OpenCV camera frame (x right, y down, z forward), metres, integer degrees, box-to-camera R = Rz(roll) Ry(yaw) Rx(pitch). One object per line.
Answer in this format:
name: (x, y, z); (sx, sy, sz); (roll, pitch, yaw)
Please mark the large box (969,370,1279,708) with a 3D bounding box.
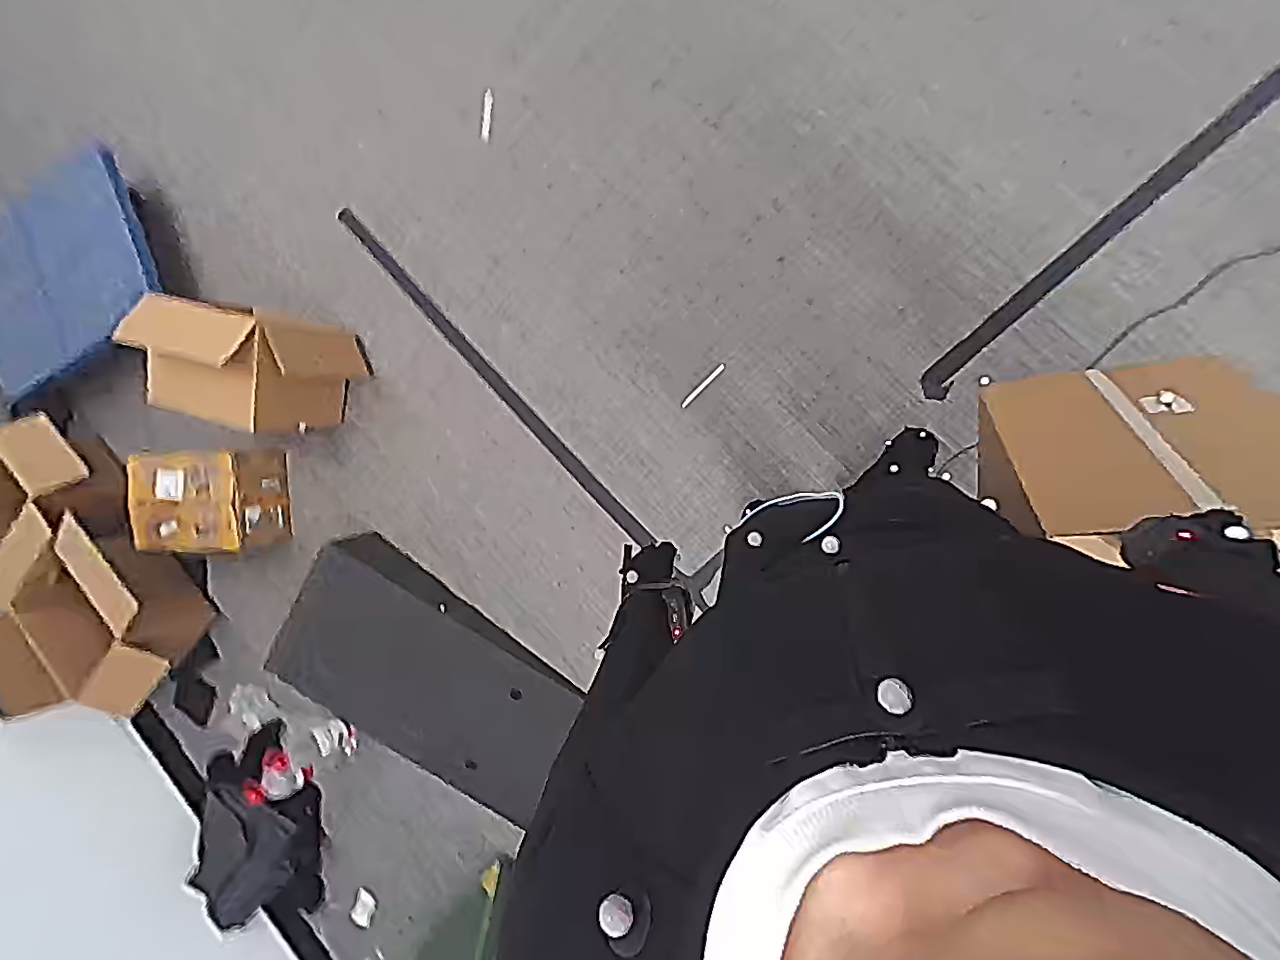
large box: (0.714, 0.073, 0.815); (0.320, 0.408, 0.320); (-4, 122, 21)
